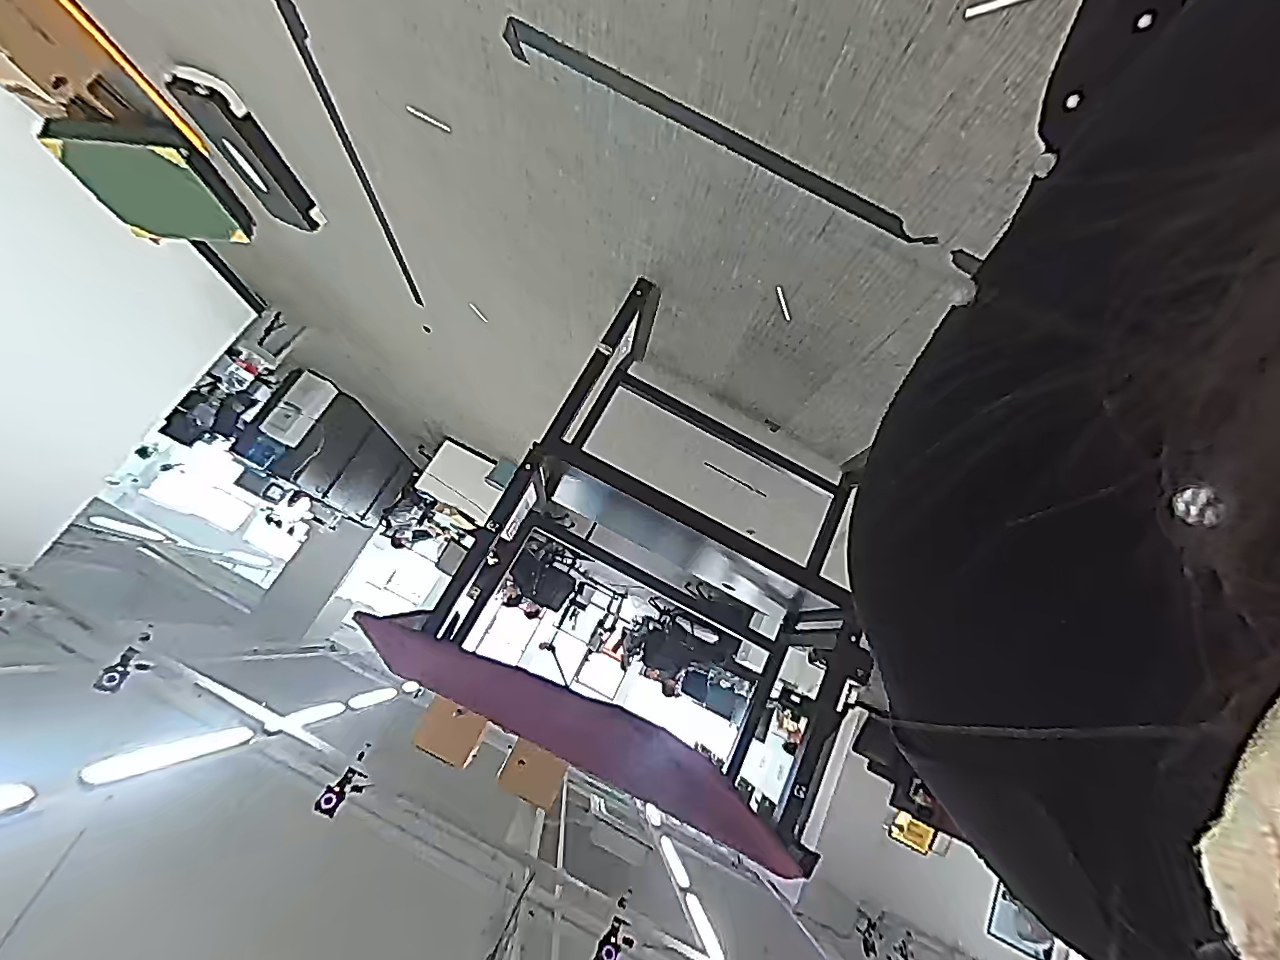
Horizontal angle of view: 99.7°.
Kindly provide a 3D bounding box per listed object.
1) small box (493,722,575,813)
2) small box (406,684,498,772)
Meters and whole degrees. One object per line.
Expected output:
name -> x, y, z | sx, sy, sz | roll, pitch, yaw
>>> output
small box -> -0.315, 0.853, 1.626 | 0.179, 0.176, 0.168 | 28, 163, 0
small box -> -0.547, 0.721, 1.594 | 0.179, 0.176, 0.168 | 28, 163, 2
